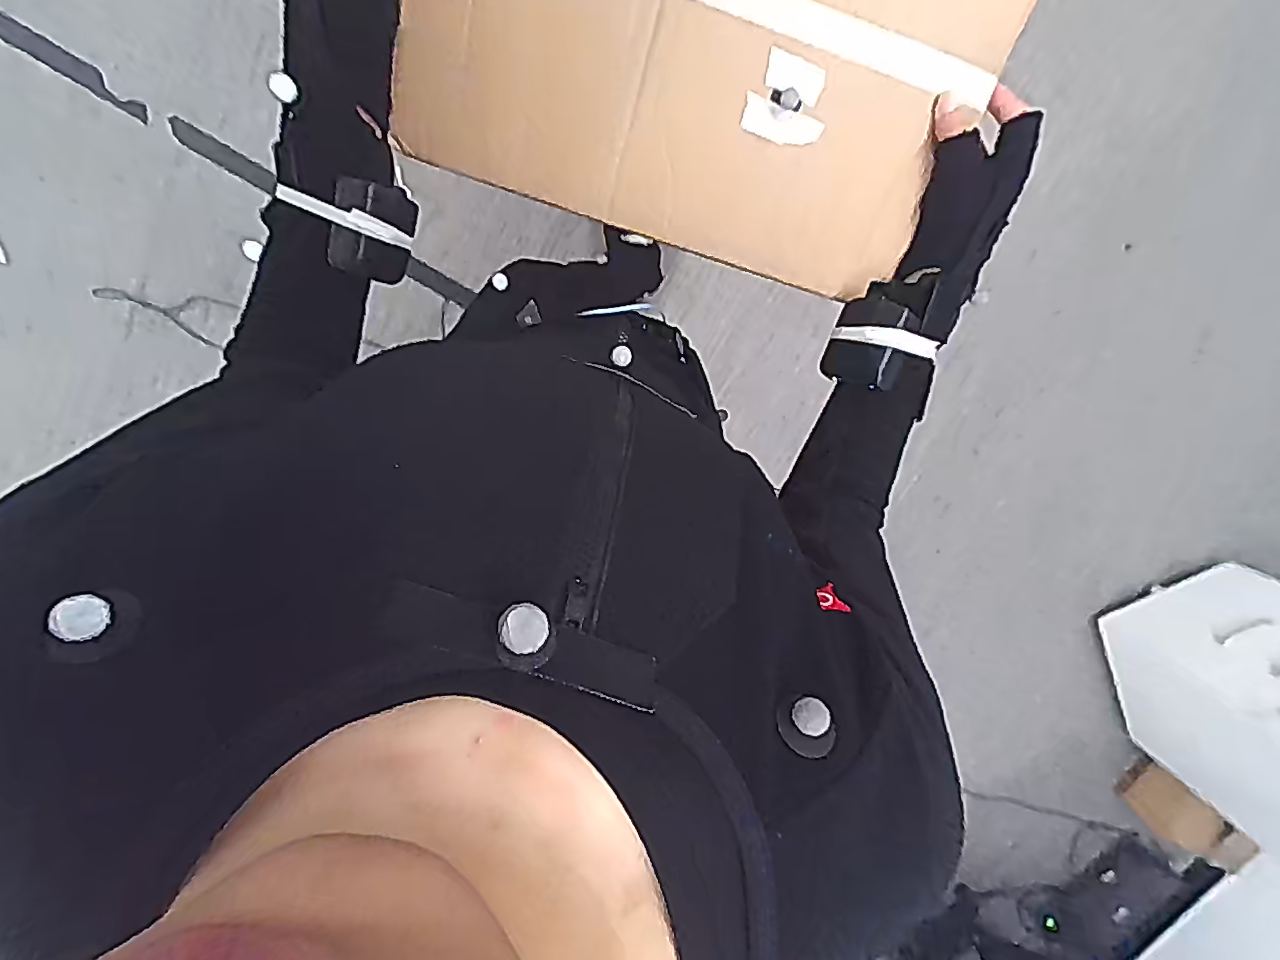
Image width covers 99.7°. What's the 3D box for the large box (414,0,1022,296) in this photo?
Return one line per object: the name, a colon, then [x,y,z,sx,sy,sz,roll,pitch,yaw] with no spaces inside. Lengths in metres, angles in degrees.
large box: [0.054,-0.404,0.504,0.408,0.320,0.320,15,118,-9]
